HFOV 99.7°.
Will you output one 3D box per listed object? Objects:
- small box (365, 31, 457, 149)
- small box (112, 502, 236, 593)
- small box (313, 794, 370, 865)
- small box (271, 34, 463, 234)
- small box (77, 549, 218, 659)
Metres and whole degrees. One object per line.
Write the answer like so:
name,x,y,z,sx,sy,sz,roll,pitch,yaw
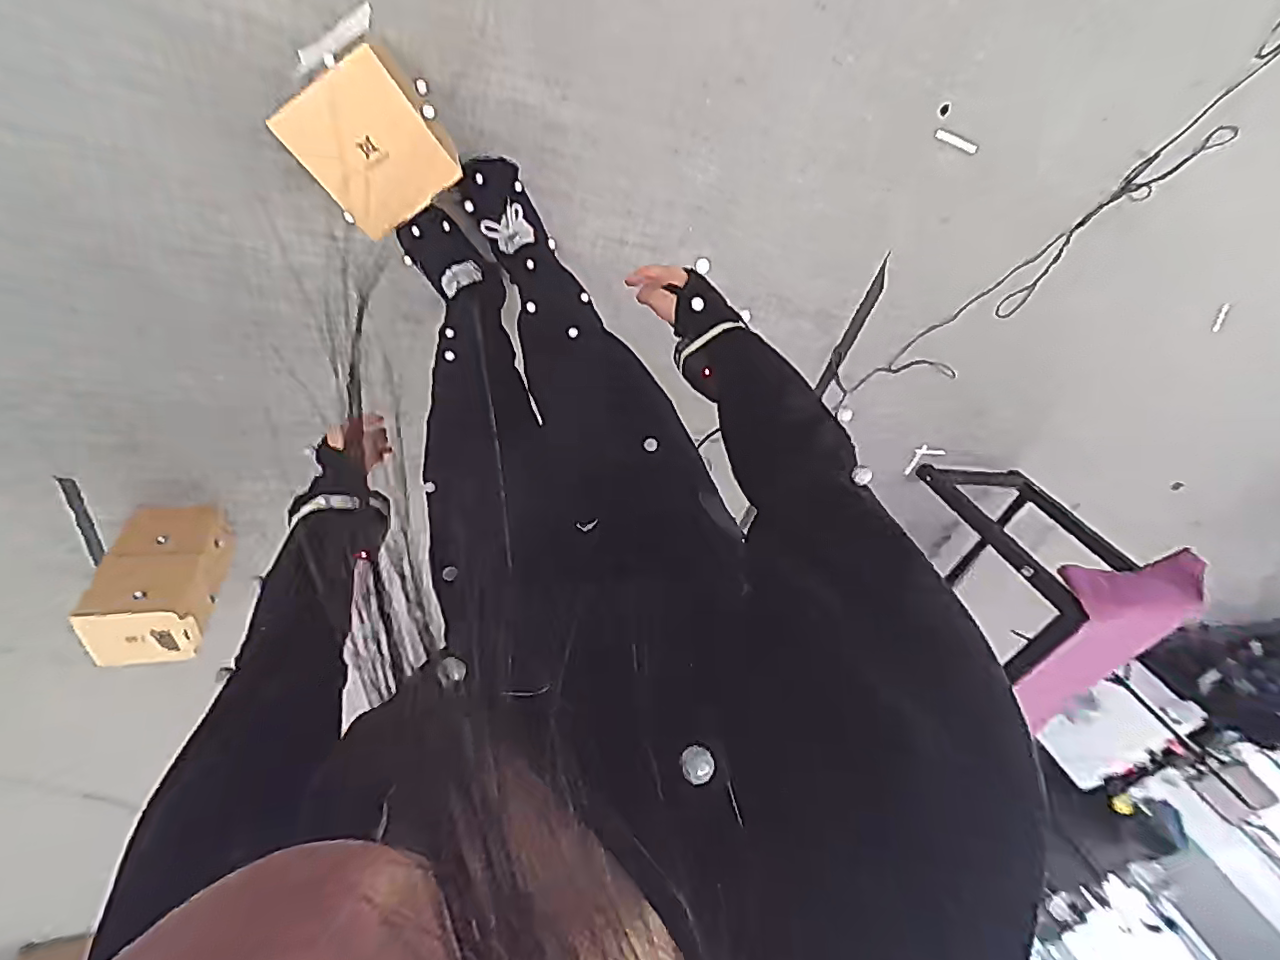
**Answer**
small box,-0.433,-0.603,0.903,0.168,0.176,0.179,-33,133,7
small box,-1.111,0.165,1.311,0.179,0.176,0.168,0,129,-20
small box,-1.157,1.352,2.099,0.179,0.176,0.168,5,128,-26
small box,-0.385,-0.501,0.784,0.168,0.176,0.179,-33,135,7
small box,-1.062,0.265,1.189,0.179,0.176,0.168,0,129,-21
